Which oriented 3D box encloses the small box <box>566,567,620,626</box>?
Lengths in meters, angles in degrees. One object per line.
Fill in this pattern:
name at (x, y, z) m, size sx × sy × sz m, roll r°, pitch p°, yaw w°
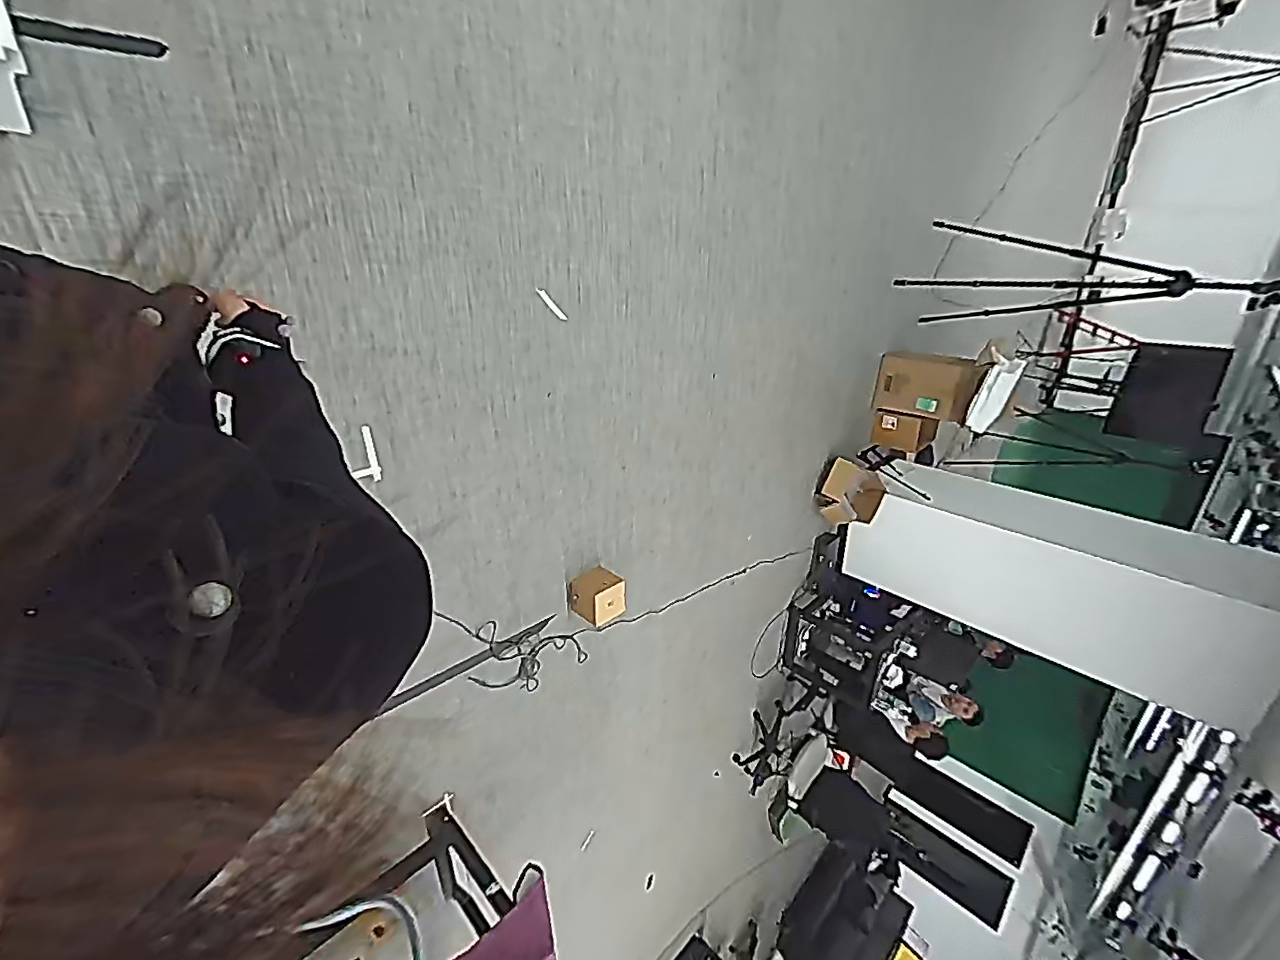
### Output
small box at (-0.207, 0.511, 2.402) m, size 0.179 × 0.176 × 0.168 m, roll -20°, pitch 120°, yaw -41°
